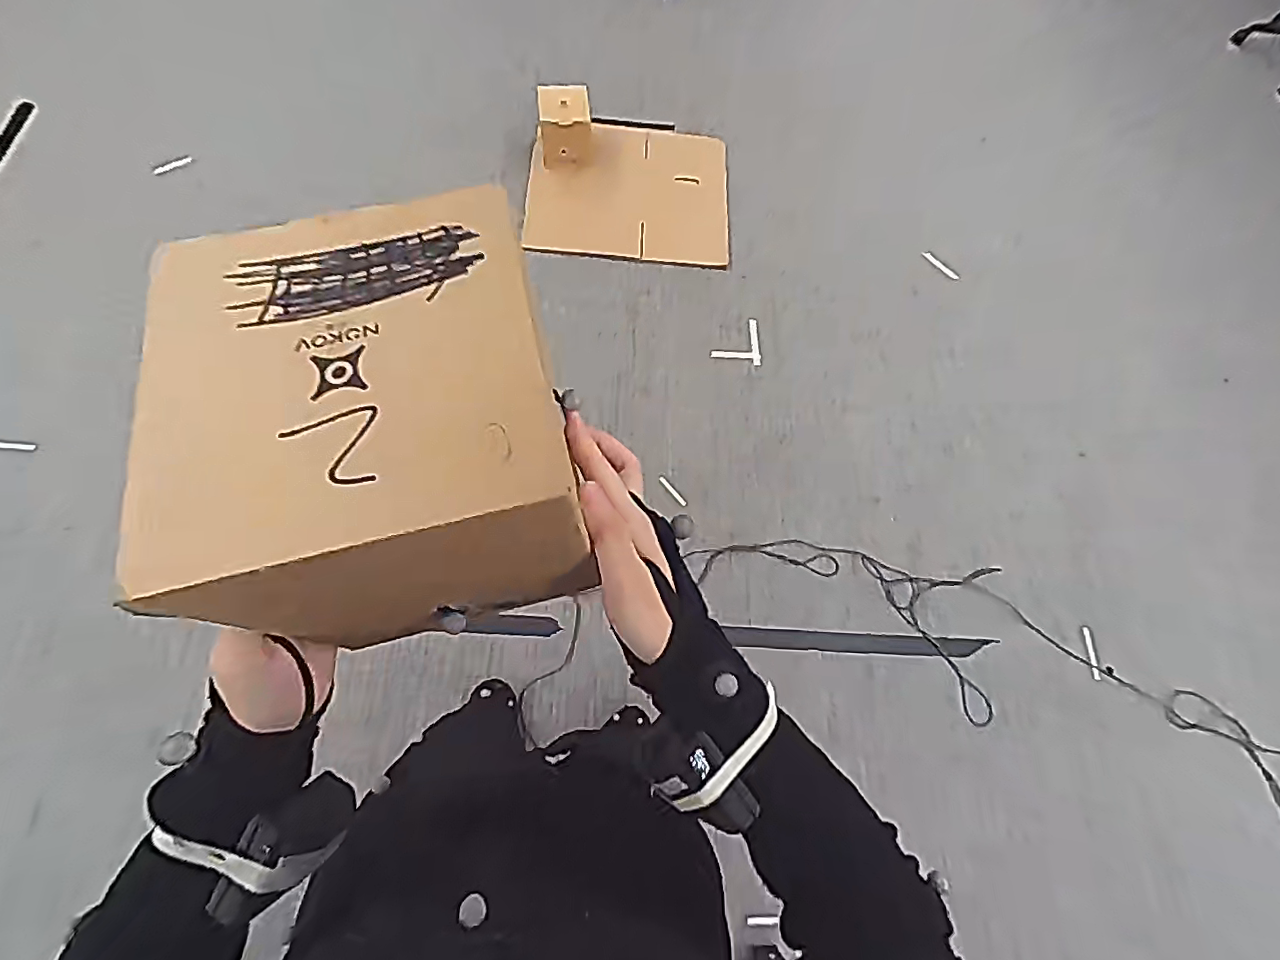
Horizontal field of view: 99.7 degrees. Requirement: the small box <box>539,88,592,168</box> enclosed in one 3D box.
[{"bbox_3d":[-0.256,-1.209,1.861,0.168,0.176,0.179,-6,70,-7],"label":"small box"}]
